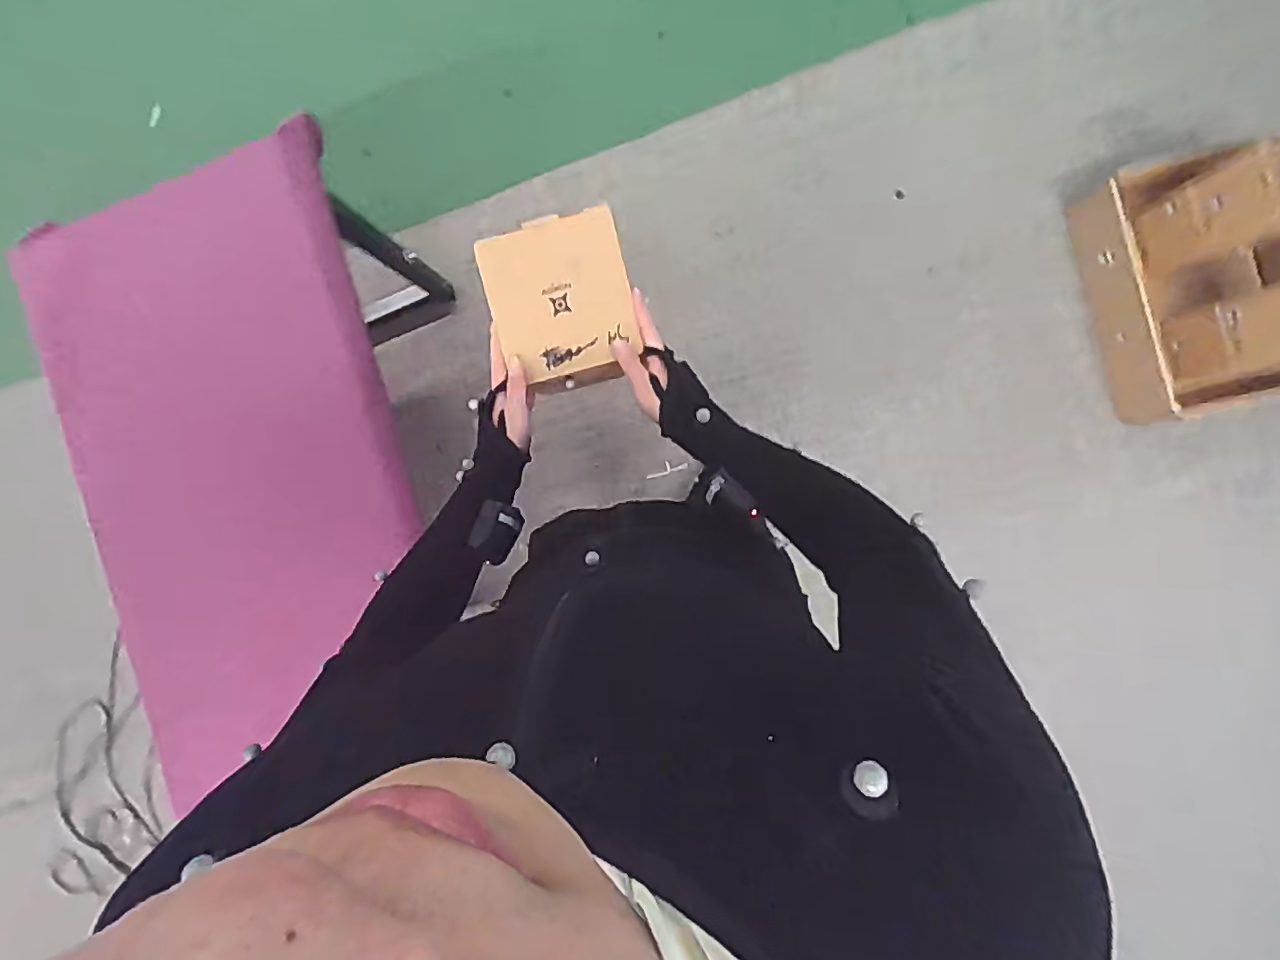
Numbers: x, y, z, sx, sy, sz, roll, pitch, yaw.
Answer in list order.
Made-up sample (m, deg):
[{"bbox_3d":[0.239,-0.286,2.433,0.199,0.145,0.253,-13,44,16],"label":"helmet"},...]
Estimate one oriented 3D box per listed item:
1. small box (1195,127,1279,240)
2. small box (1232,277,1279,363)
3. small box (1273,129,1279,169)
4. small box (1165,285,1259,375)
[{"bbox_3d":[1.370,-0.646,1.159,0.179,0.176,0.168,-14,90,6],"label":"small box"},{"bbox_3d":[1.435,-0.362,1.150,0.179,0.176,0.168,-14,87,6],"label":"small box"},{"bbox_3d":[1.358,-0.641,0.995,0.179,0.176,0.168,-13,89,6],"label":"small box"},{"bbox_3d":[1.452,-0.369,1.313,0.179,0.176,0.168,-14,87,7],"label":"small box"}]
